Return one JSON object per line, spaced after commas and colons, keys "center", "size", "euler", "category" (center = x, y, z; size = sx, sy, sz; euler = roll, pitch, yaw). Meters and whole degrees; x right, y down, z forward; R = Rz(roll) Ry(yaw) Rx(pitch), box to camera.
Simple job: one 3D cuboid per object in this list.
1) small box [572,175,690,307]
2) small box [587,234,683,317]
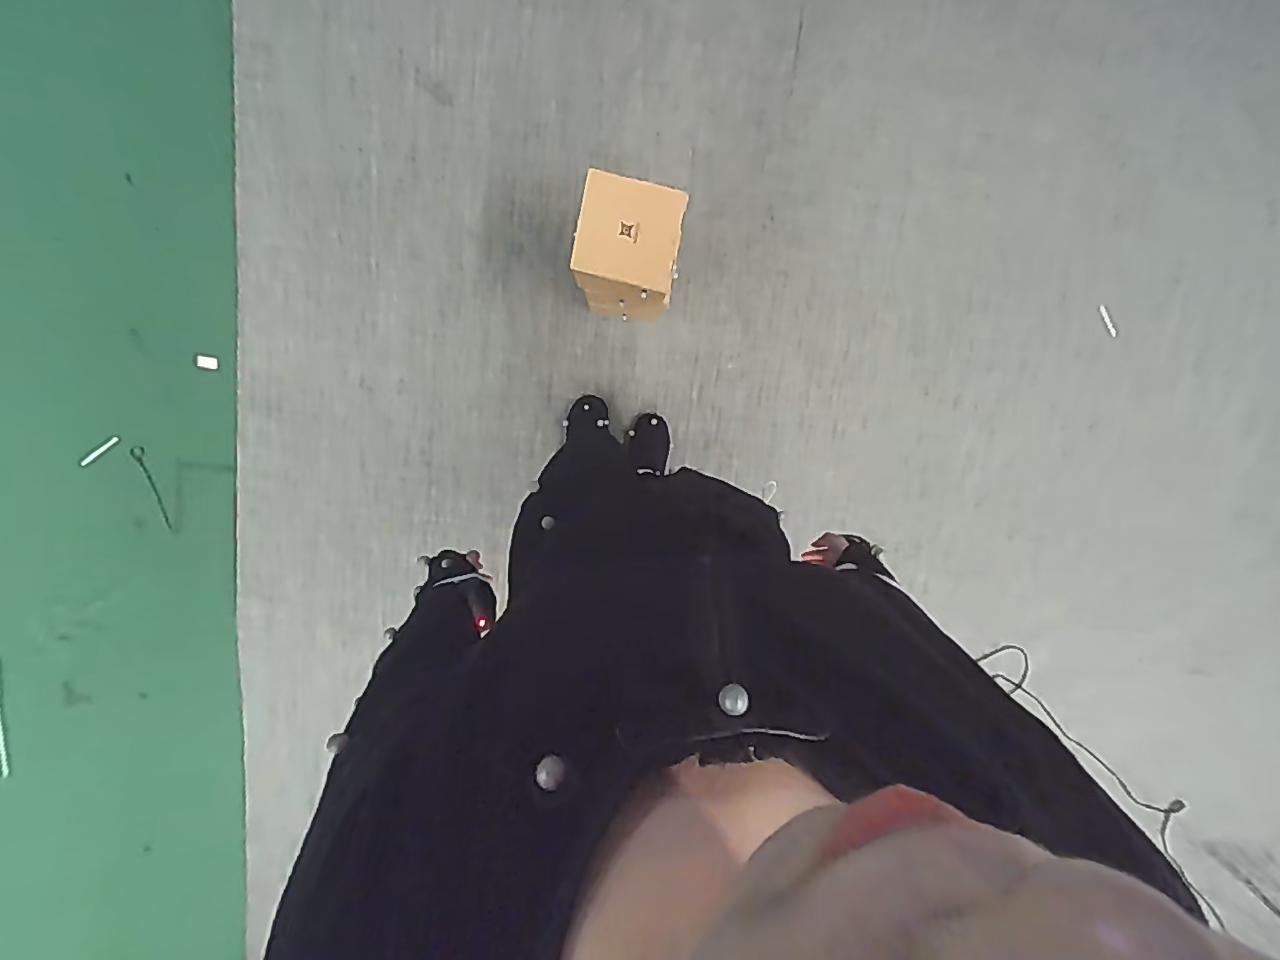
{"center": [-0.020, -0.429, 1.002], "size": [0.179, 0.176, 0.168], "euler": [12, 99, -5], "category": "small box"}
{"center": [-0.013, -0.454, 1.163], "size": [0.179, 0.176, 0.168], "euler": [9, 100, -3], "category": "small box"}
